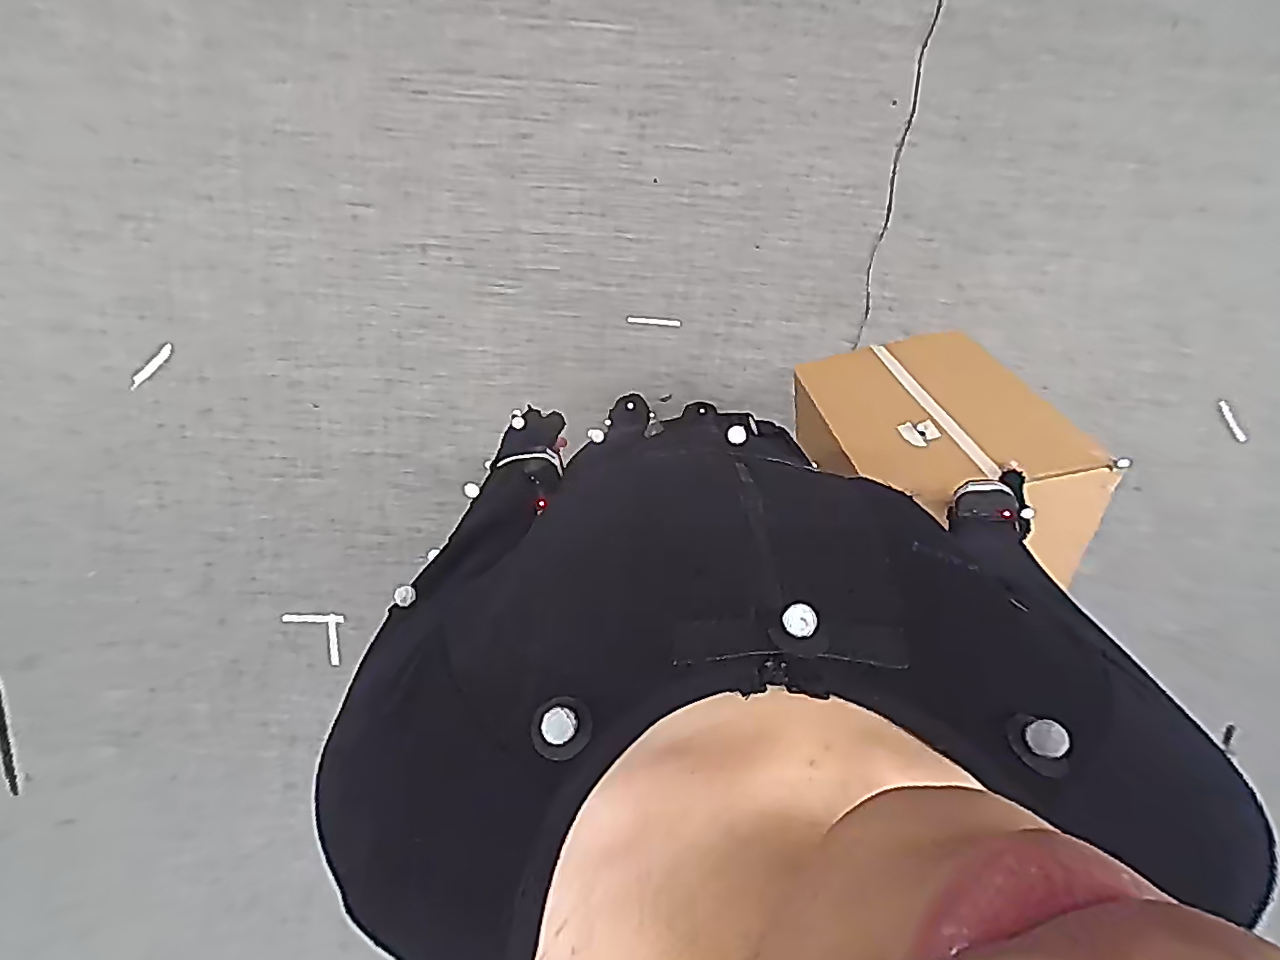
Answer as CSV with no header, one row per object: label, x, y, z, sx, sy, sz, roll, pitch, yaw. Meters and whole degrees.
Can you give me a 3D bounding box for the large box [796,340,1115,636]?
large box,0.492,0.004,0.971,0.320,0.408,0.320,-13,131,4
